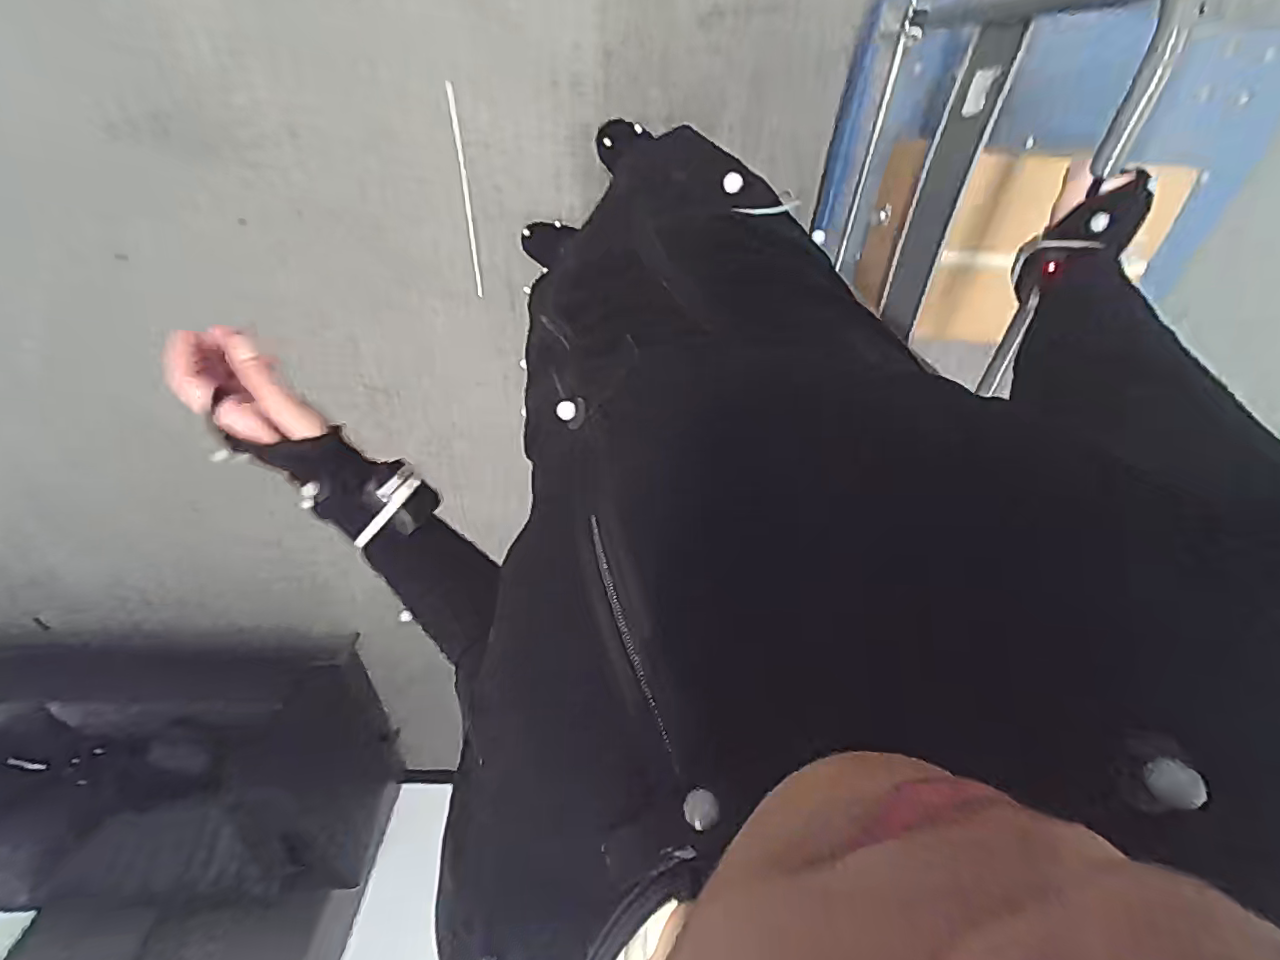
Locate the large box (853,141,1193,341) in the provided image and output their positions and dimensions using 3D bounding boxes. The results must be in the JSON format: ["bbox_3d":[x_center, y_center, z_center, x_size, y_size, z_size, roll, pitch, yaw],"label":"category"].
[{"bbox_3d":[0.707,-0.489,1.091,0.408,0.320,0.320,2,127,-2],"label":"large box"}]
